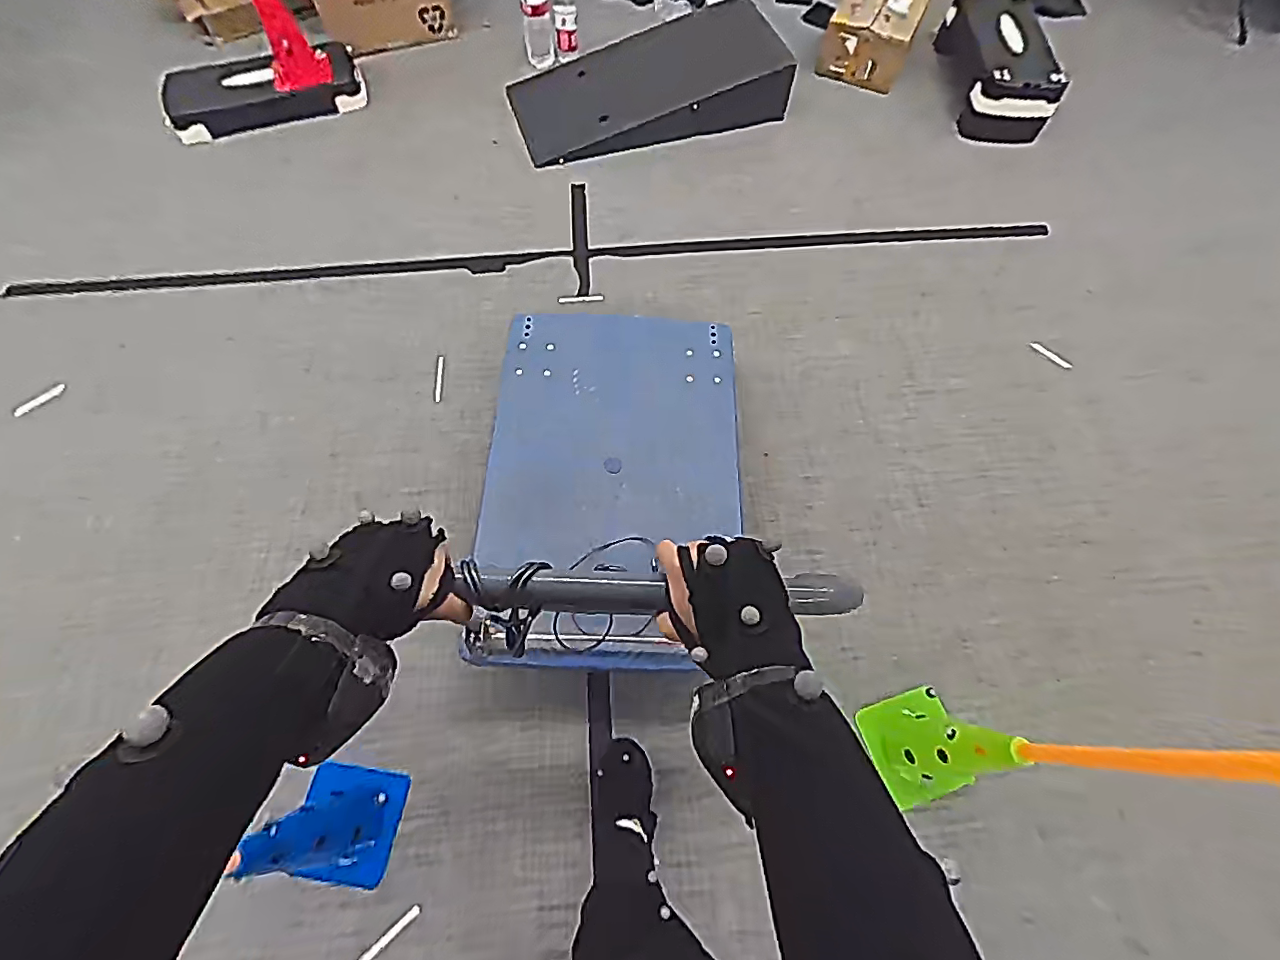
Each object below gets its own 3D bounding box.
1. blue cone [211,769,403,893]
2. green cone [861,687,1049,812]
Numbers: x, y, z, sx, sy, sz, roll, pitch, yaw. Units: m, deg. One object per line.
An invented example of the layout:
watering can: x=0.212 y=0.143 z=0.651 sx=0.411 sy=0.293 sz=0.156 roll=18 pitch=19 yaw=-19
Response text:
blue cone: x=-0.578 y=0.619 z=0.922 sx=0.193 sy=0.380 sz=0.192 roll=10 pitch=66 yaw=3
green cone: x=0.595 y=0.495 z=0.987 sx=0.200 sy=0.368 sz=0.202 roll=-16 pitch=67 yaw=-8
